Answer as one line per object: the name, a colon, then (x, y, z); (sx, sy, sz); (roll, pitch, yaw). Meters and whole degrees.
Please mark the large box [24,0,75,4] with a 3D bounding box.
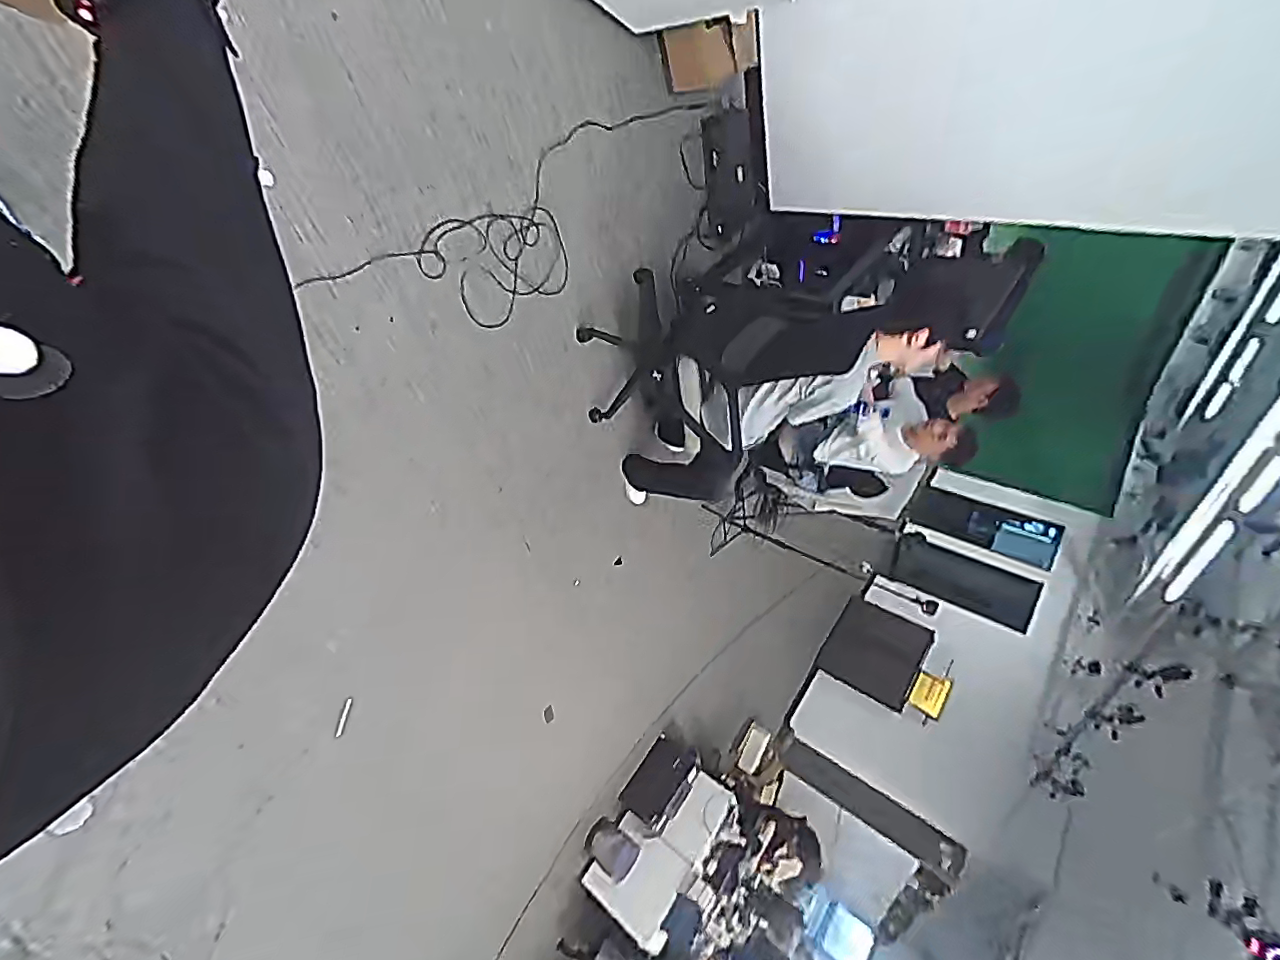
large box: (-0.588, -0.559, 0.293); (0.408, 0.320, 0.320); (-5, 117, -54)
